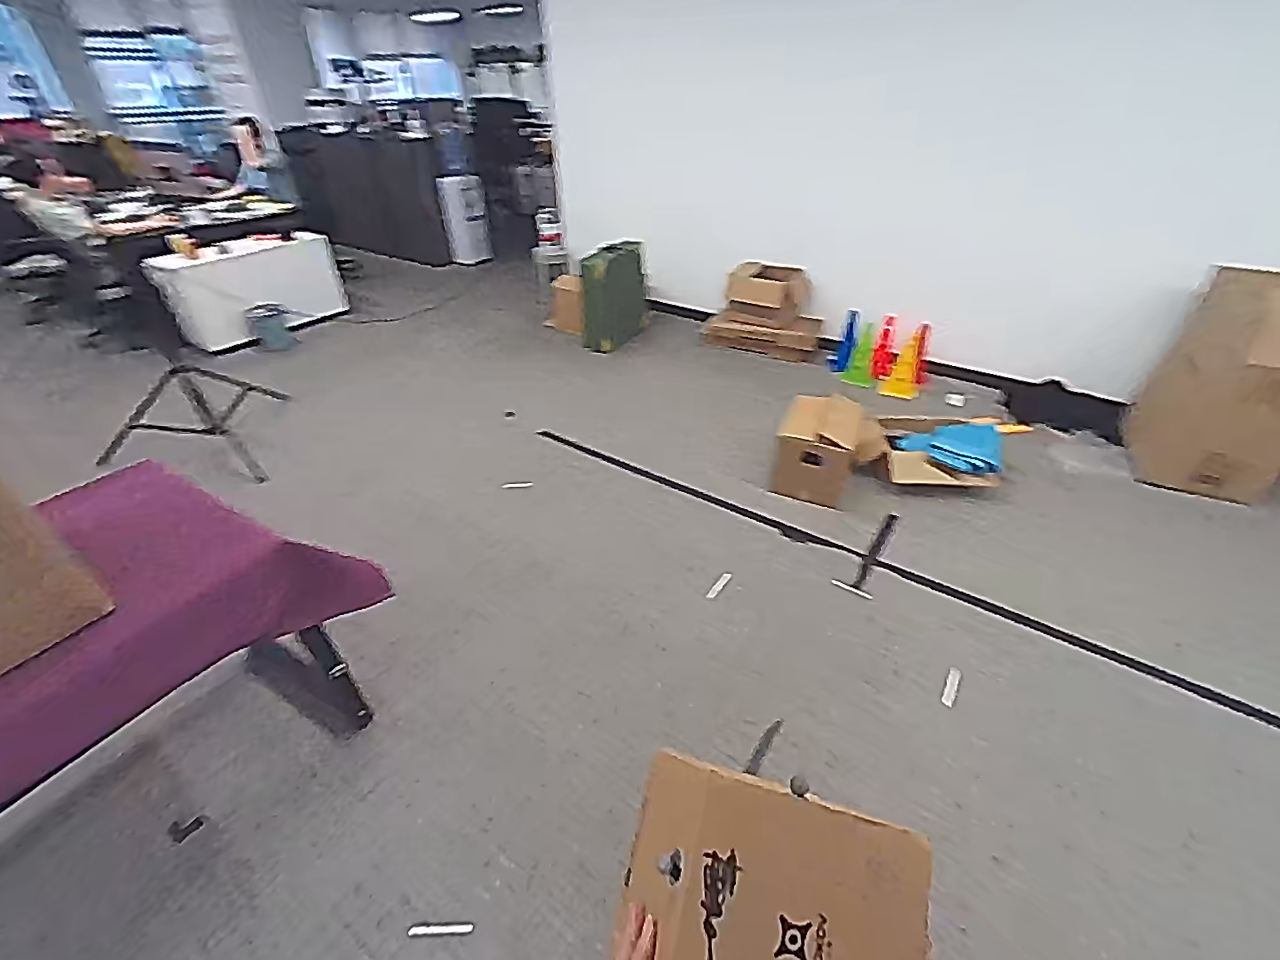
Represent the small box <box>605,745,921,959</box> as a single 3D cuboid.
[{"bbox_3d":[0.086,0.320,0.427,0.179,0.176,0.168,19,65,-6],"label":"small box"}]
